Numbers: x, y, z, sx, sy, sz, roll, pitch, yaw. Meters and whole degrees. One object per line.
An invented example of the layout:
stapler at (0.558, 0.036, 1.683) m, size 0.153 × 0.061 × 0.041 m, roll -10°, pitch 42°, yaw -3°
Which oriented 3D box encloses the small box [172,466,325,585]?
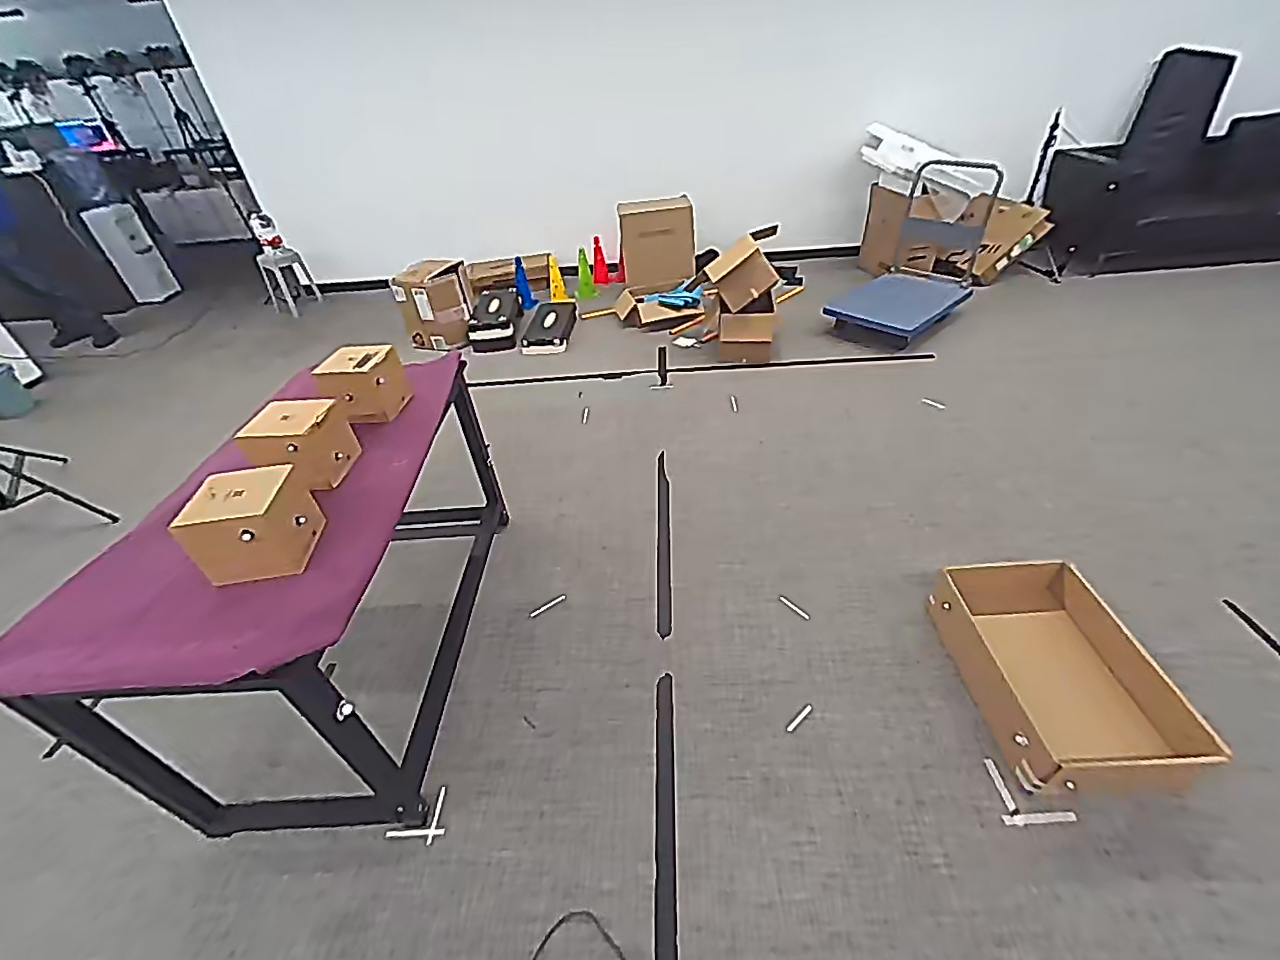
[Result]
small box at (-0.797, 0.096, 1.129) m, size 0.179 × 0.176 × 0.168 m, roll -9°, pitch 38°, yaw -3°

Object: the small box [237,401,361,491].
small box at (-0.846, -0.082, 1.363) m, size 0.179 × 0.176 × 0.168 m, roll -2°, pitch 39°, yaw 4°
